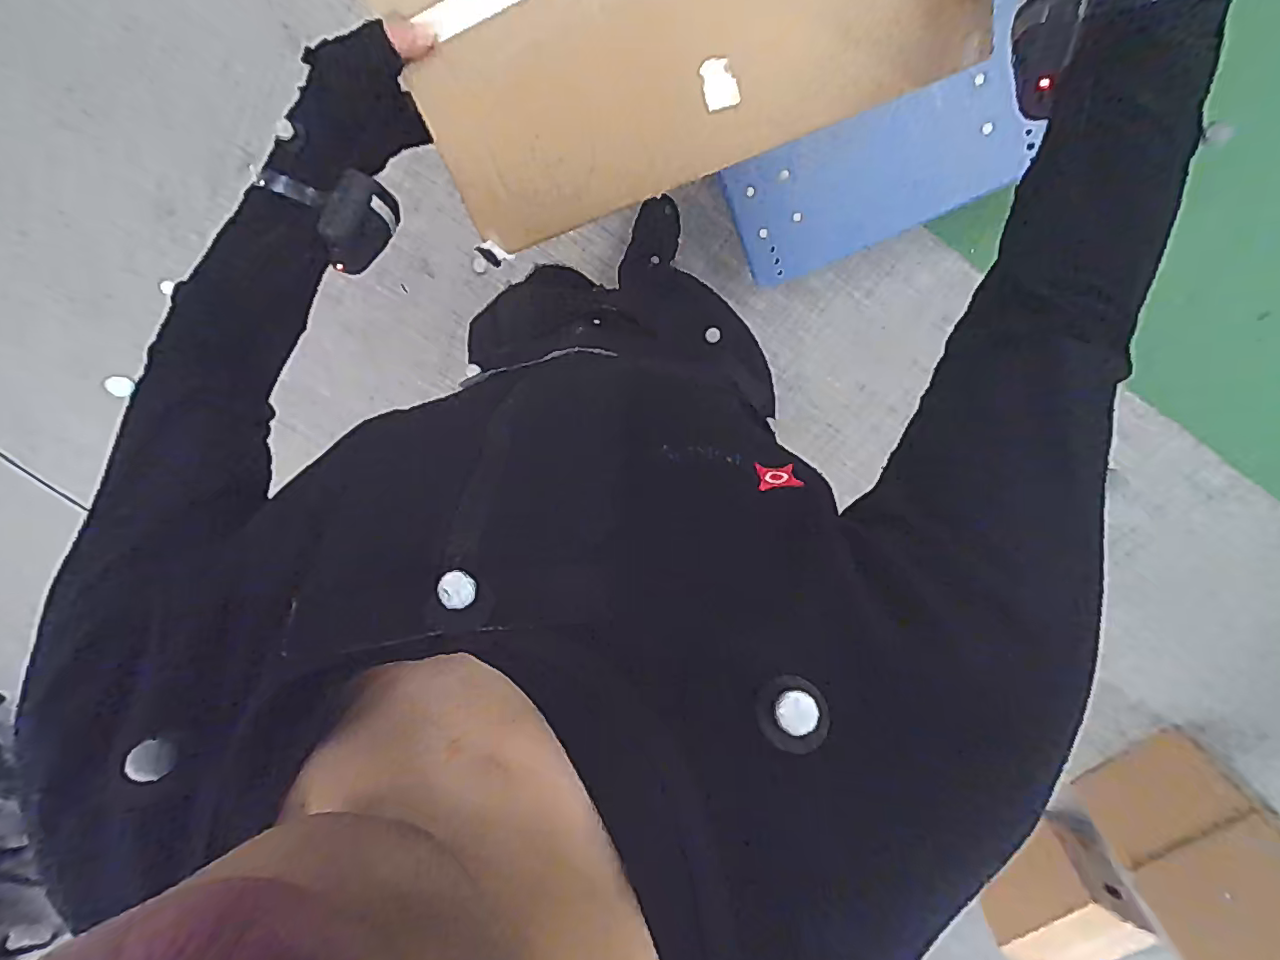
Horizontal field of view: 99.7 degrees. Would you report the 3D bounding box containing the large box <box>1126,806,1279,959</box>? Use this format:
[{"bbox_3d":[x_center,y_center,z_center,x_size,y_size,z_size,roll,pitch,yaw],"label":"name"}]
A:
[{"bbox_3d":[1.696,1.190,1.465,0.320,0.320,0.408,34,114,-8],"label":"large box"}]
